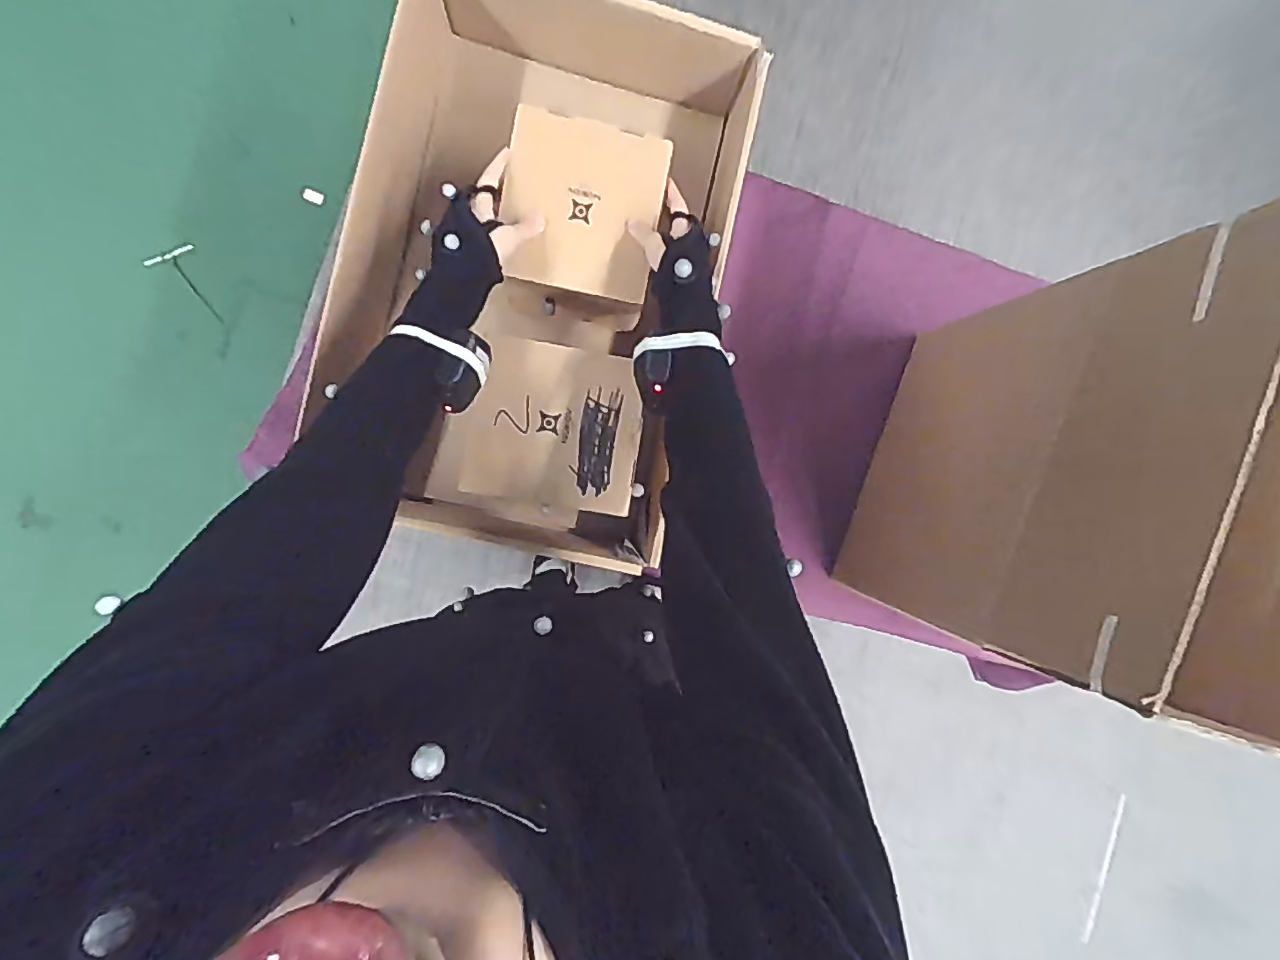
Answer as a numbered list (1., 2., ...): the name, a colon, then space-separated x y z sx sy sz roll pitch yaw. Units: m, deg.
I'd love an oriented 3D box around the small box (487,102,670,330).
1. small box: -0.069 -0.292 0.642 0.168 0.176 0.179 11 92 -6
